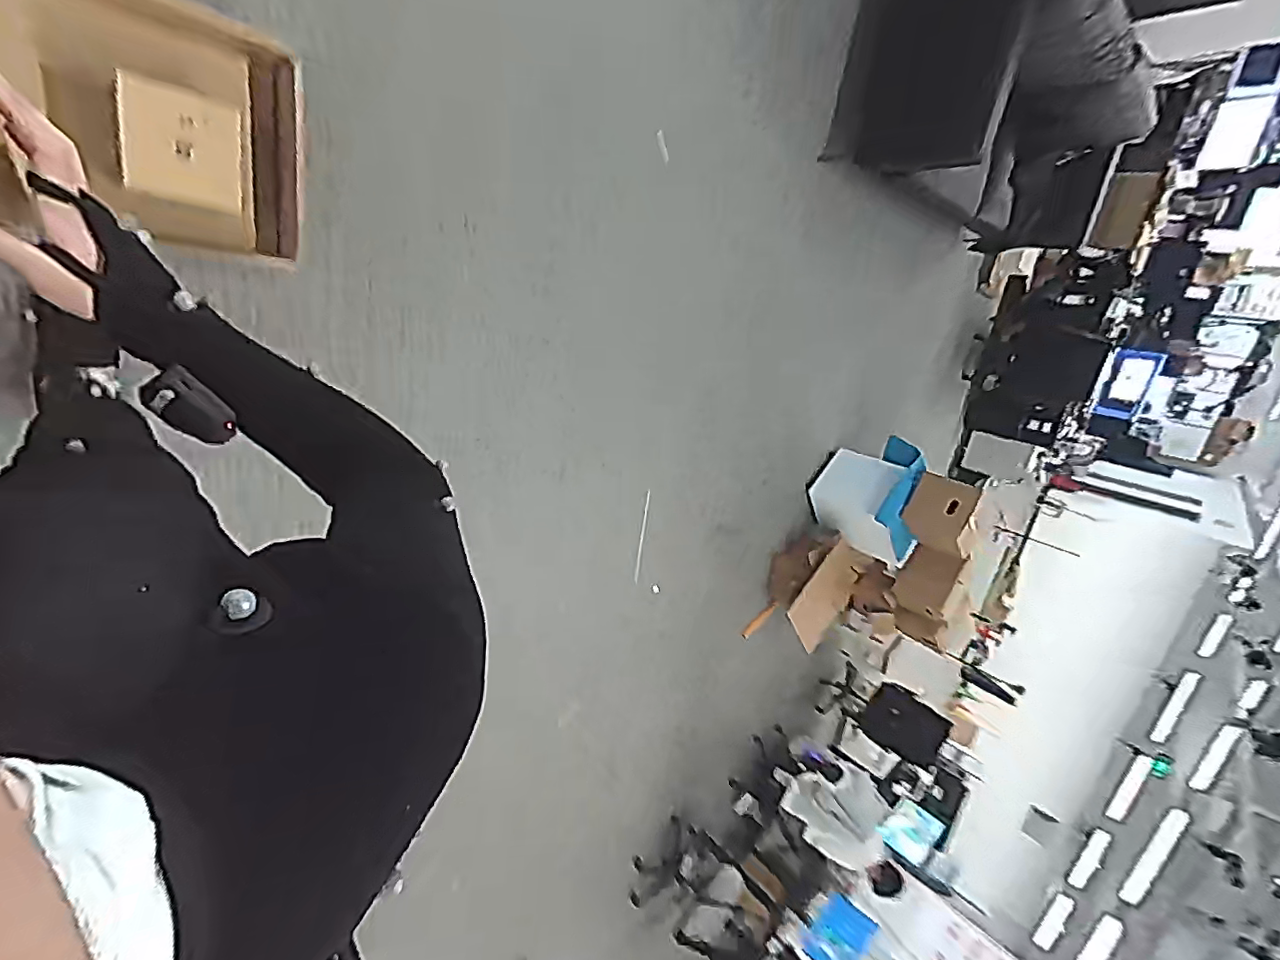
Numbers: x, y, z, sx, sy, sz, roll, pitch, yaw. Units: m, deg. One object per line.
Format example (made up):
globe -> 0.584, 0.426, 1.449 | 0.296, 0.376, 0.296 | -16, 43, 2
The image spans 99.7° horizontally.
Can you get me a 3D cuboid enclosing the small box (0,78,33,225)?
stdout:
small box -> -0.534, -0.287, 0.341 | 0.168, 0.176, 0.179 | -15, 93, -42
